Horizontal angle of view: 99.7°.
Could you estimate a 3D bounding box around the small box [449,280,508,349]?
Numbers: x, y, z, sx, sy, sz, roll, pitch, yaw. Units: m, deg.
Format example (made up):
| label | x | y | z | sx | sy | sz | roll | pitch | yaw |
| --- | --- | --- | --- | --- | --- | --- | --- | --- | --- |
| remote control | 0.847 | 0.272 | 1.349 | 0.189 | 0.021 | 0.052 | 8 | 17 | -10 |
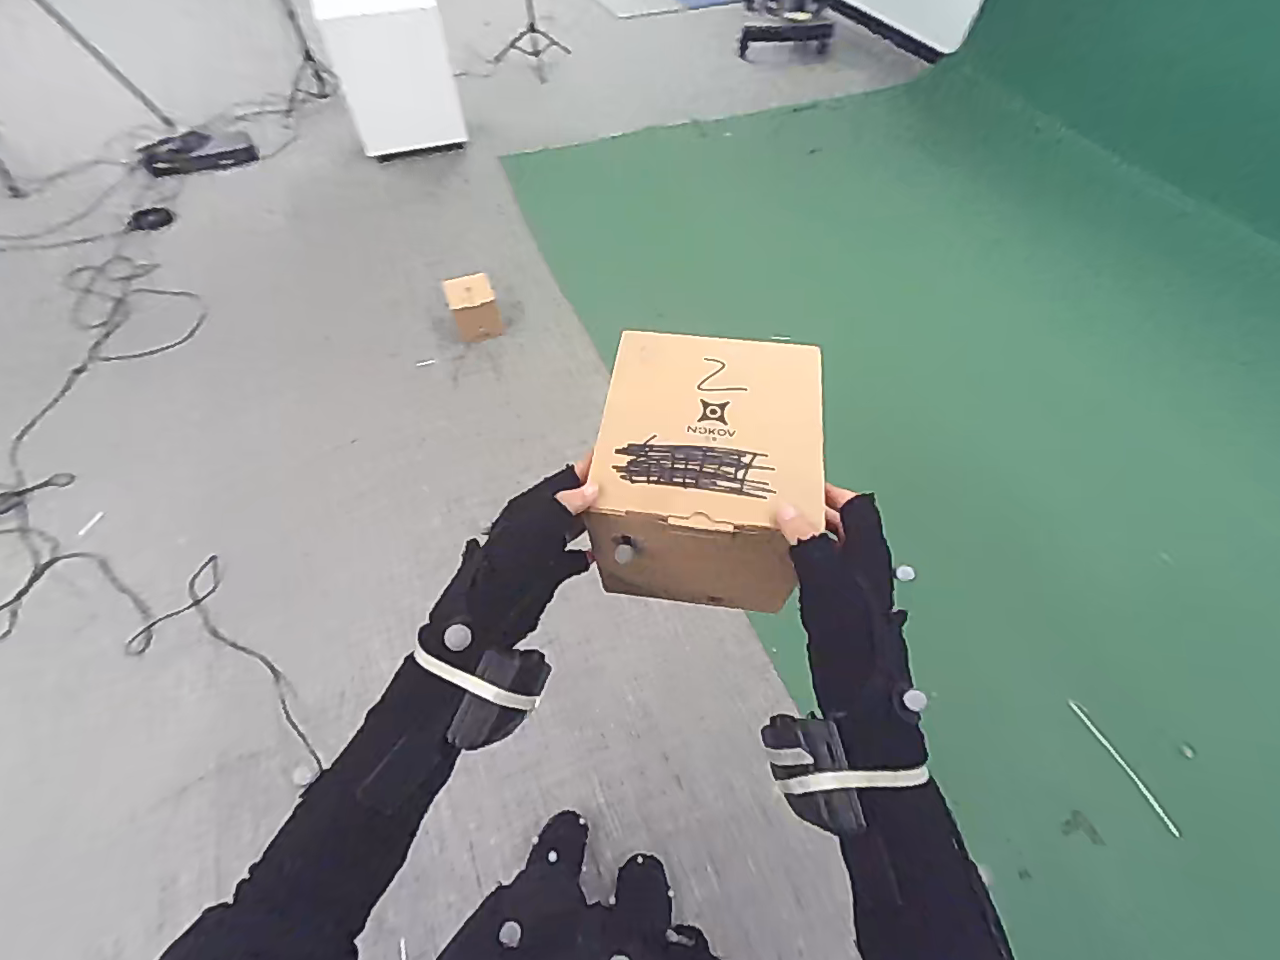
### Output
| label | x | y | z | sx | sy | sz | roll | pitch | yaw |
| --- | --- | --- | --- | --- | --- | --- | --- | --- | --- |
| small box | -0.621 | -0.639 | 2.089 | 0.168 | 0.176 | 0.179 | -18 | 59 | -13 |
